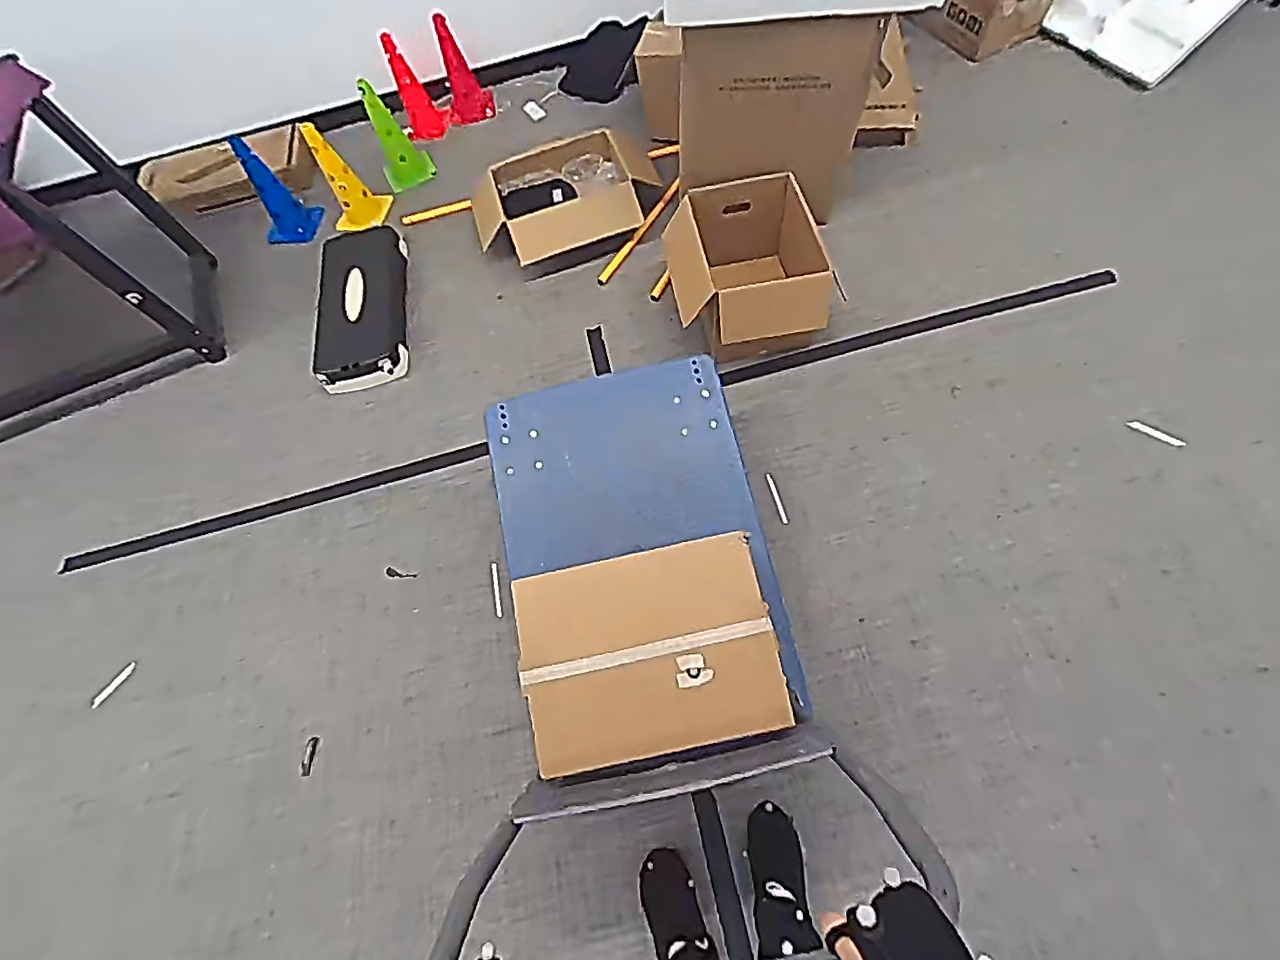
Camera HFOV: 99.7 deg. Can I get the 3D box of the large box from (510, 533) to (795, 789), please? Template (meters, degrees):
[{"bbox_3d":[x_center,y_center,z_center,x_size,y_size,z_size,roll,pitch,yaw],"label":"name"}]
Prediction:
[{"bbox_3d":[0.017,0.314,0.995,0.408,0.320,0.320,-13,77,0],"label":"large box"}]
